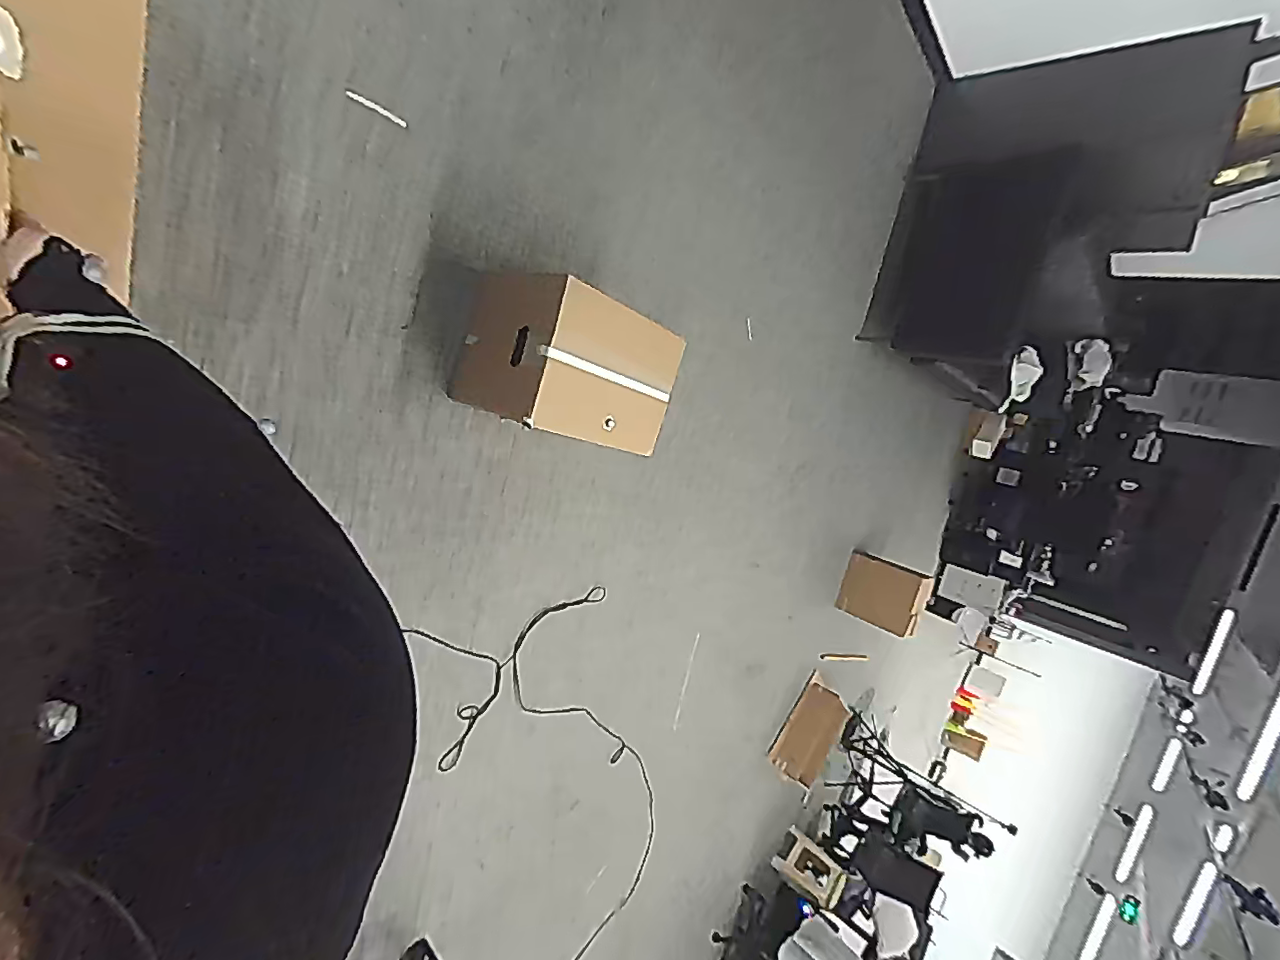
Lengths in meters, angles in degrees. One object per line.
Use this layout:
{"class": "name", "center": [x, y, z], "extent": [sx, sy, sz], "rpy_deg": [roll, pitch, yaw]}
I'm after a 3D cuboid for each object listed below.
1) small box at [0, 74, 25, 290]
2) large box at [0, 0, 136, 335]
{"class": "small box", "center": [-0.616, -0.256, 0.422], "extent": [0.179, 0.176, 0.168], "rpy_deg": [0, 103, -45]}
{"class": "large box", "center": [-0.778, -0.397, 0.587], "extent": [0.320, 0.320, 0.408], "rpy_deg": [2, 103, -48]}
